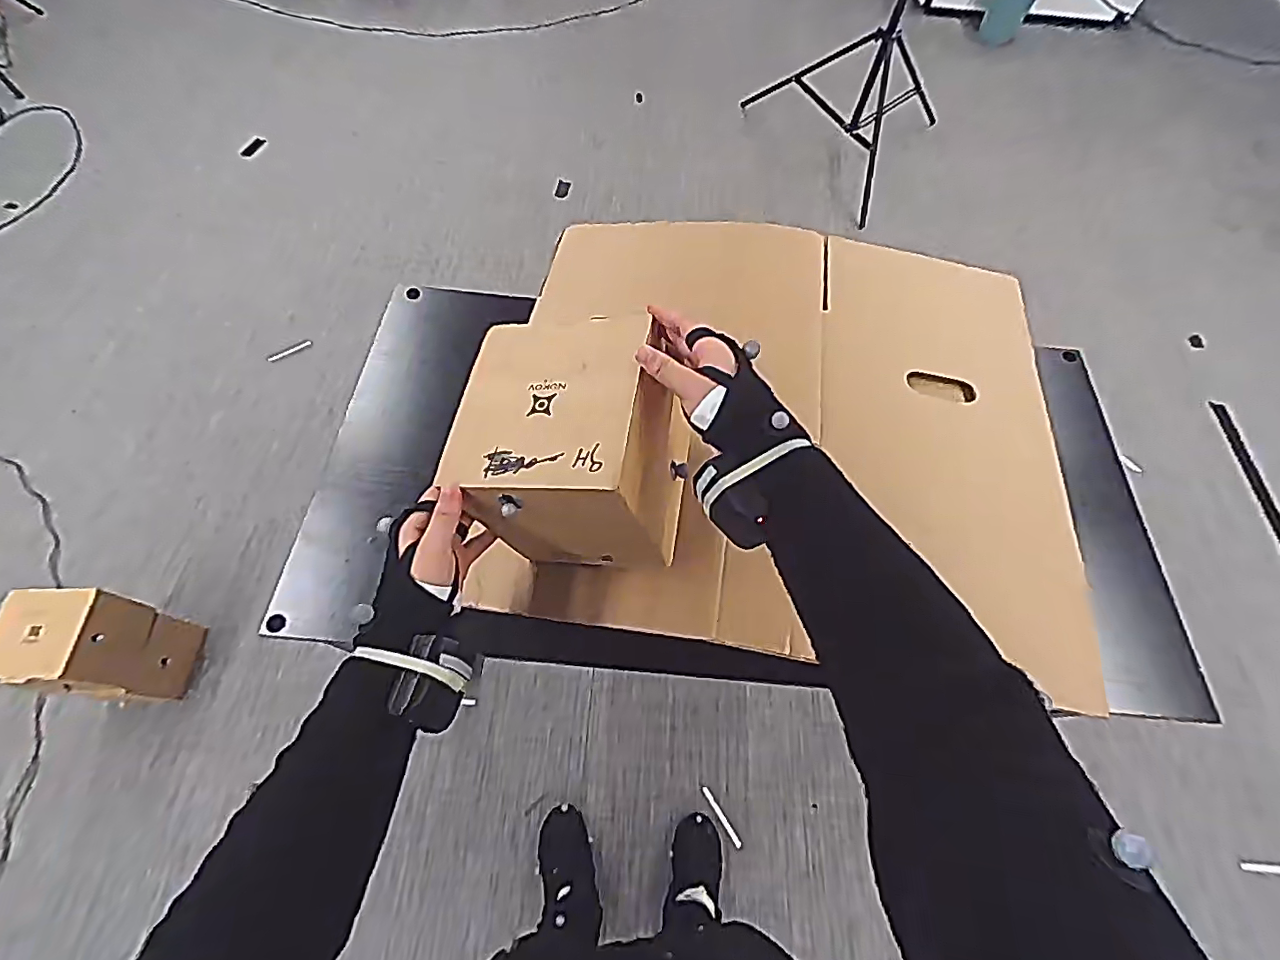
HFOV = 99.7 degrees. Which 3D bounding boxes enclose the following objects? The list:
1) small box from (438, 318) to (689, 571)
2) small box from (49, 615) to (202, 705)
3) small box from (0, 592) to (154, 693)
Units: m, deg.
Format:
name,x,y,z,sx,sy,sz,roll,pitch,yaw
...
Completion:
name,x,y,z,sx,sy,sz,roll,pitch,yaw
small box,-0.054,-0.028,0.522,0.168,0.176,0.179,0,61,19
small box,-1.168,0.417,1.250,0.168,0.176,0.179,2,64,-2
small box,-1.162,0.338,1.108,0.168,0.176,0.179,-1,62,-4
